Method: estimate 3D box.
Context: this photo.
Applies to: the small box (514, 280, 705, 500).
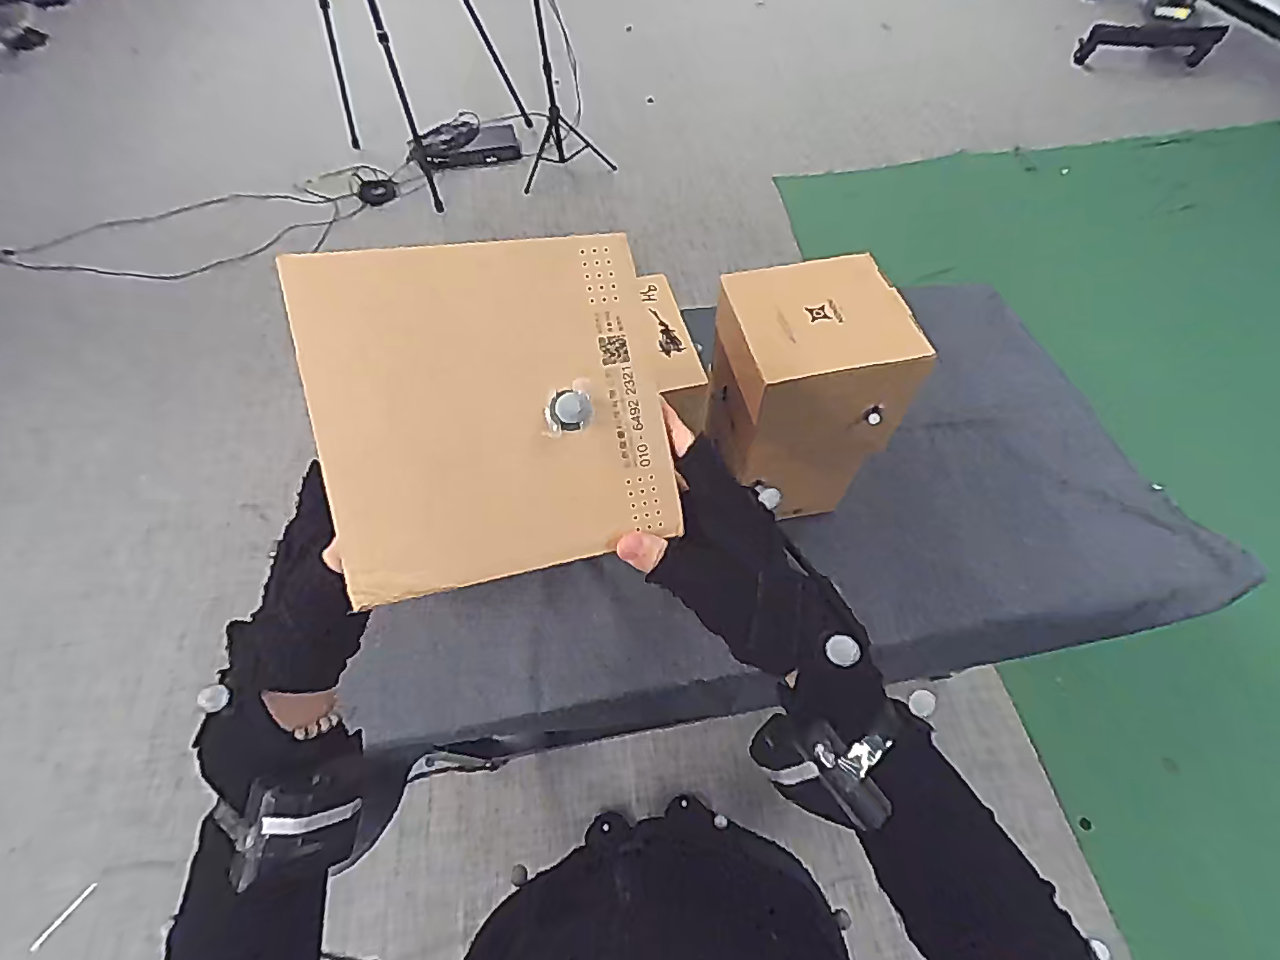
[{"bbox_3d":[-0.032,-0.095,0.626,0.179,0.176,0.168,-13,60,-5],"label":"small box"}]
